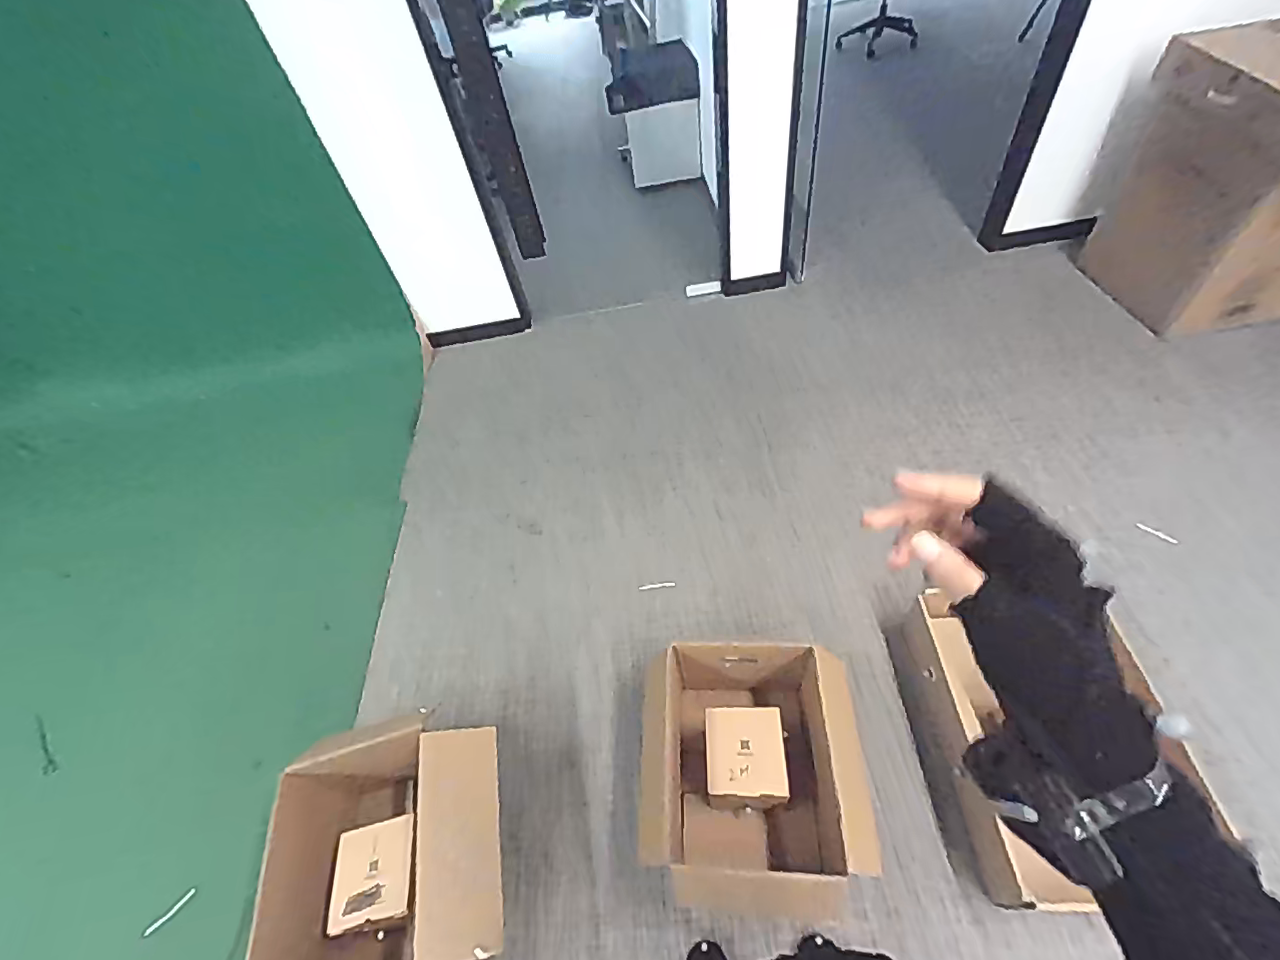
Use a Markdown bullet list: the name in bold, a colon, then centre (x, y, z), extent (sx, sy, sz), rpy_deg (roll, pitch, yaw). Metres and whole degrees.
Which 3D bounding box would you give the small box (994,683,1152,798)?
- **small box**: centre (0.888, 0.549, 1.135), extent (0.168, 0.176, 0.179), rpy_deg (-8, 50, 3)
